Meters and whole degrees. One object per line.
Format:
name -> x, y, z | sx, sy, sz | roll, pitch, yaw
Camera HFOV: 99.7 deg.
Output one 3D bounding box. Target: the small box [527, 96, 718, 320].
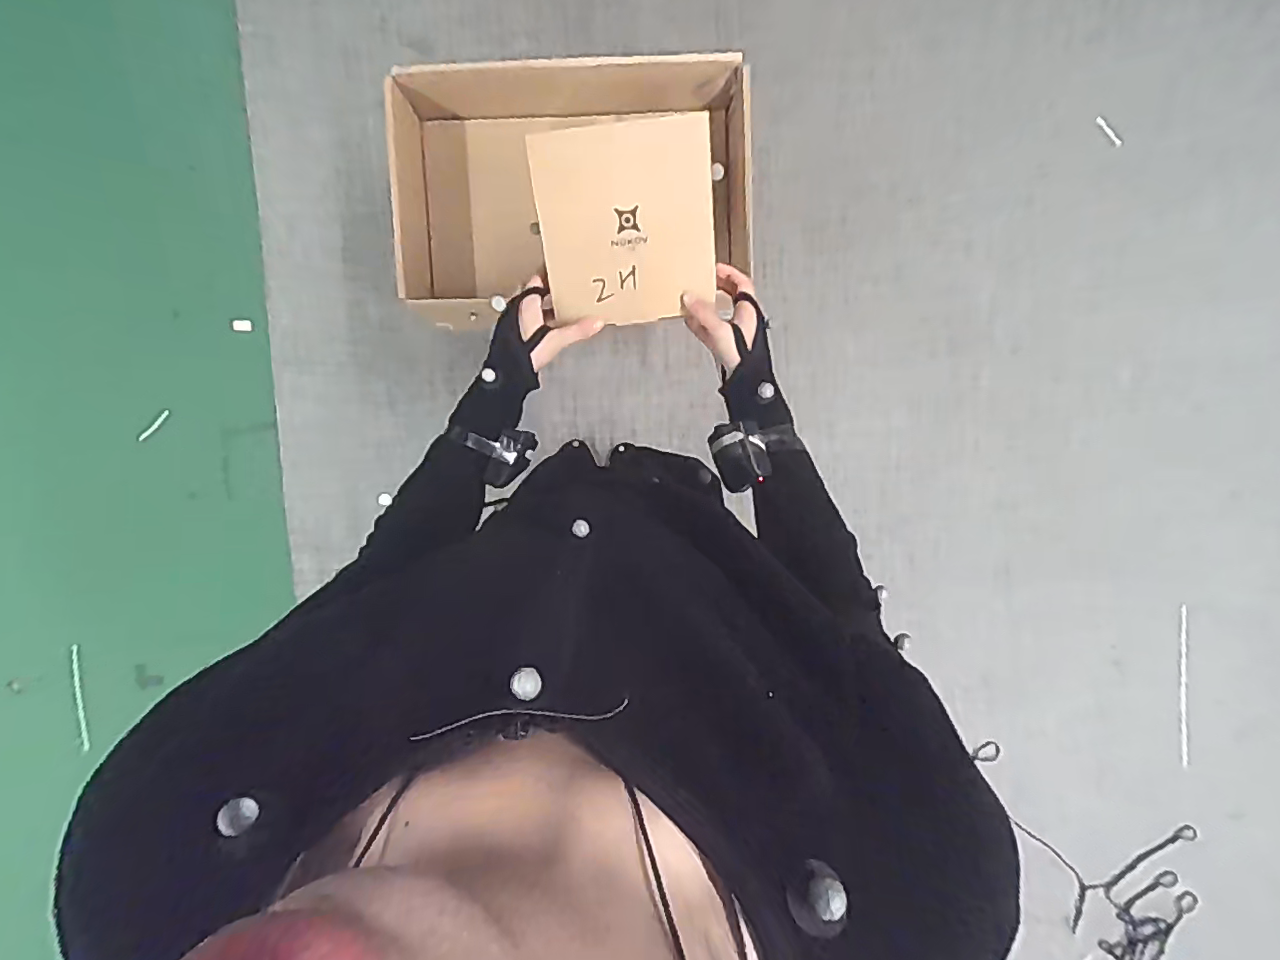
small box -> -0.014, -0.279, 0.575 | 0.168, 0.176, 0.179 | -6, 116, 2
